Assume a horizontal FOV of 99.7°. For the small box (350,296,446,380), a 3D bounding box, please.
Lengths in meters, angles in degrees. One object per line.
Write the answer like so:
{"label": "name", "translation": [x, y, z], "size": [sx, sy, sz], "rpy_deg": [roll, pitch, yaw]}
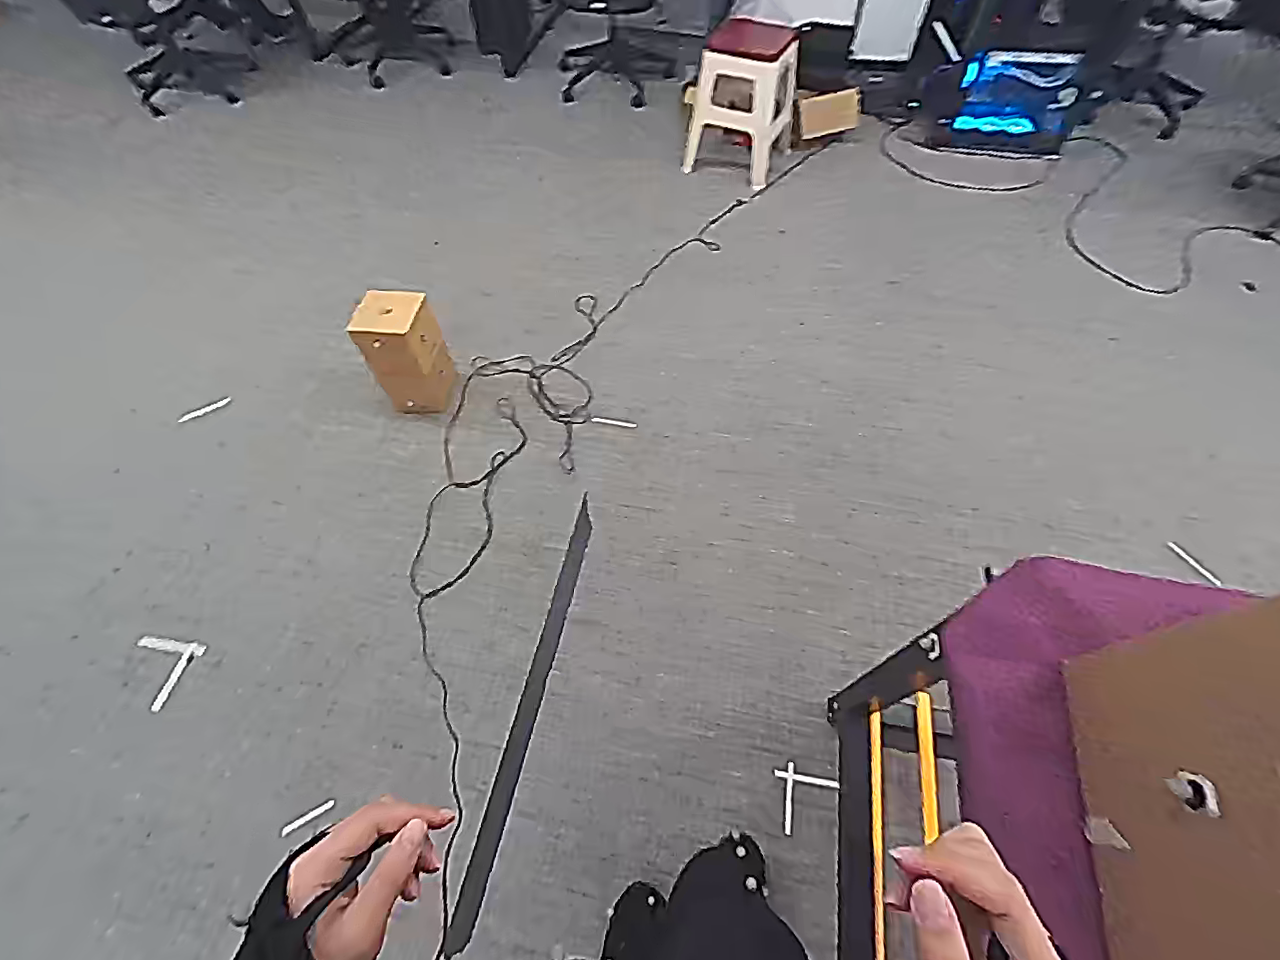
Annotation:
{"label": "small box", "translation": [-0.692, -0.409, 1.573], "size": [0.179, 0.176, 0.168], "rpy_deg": [4, 58, 6]}

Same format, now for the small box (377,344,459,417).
{"label": "small box", "translation": [-0.691, -0.322, 1.709], "size": [0.168, 0.176, 0.179], "rpy_deg": [3, 58, 4]}
